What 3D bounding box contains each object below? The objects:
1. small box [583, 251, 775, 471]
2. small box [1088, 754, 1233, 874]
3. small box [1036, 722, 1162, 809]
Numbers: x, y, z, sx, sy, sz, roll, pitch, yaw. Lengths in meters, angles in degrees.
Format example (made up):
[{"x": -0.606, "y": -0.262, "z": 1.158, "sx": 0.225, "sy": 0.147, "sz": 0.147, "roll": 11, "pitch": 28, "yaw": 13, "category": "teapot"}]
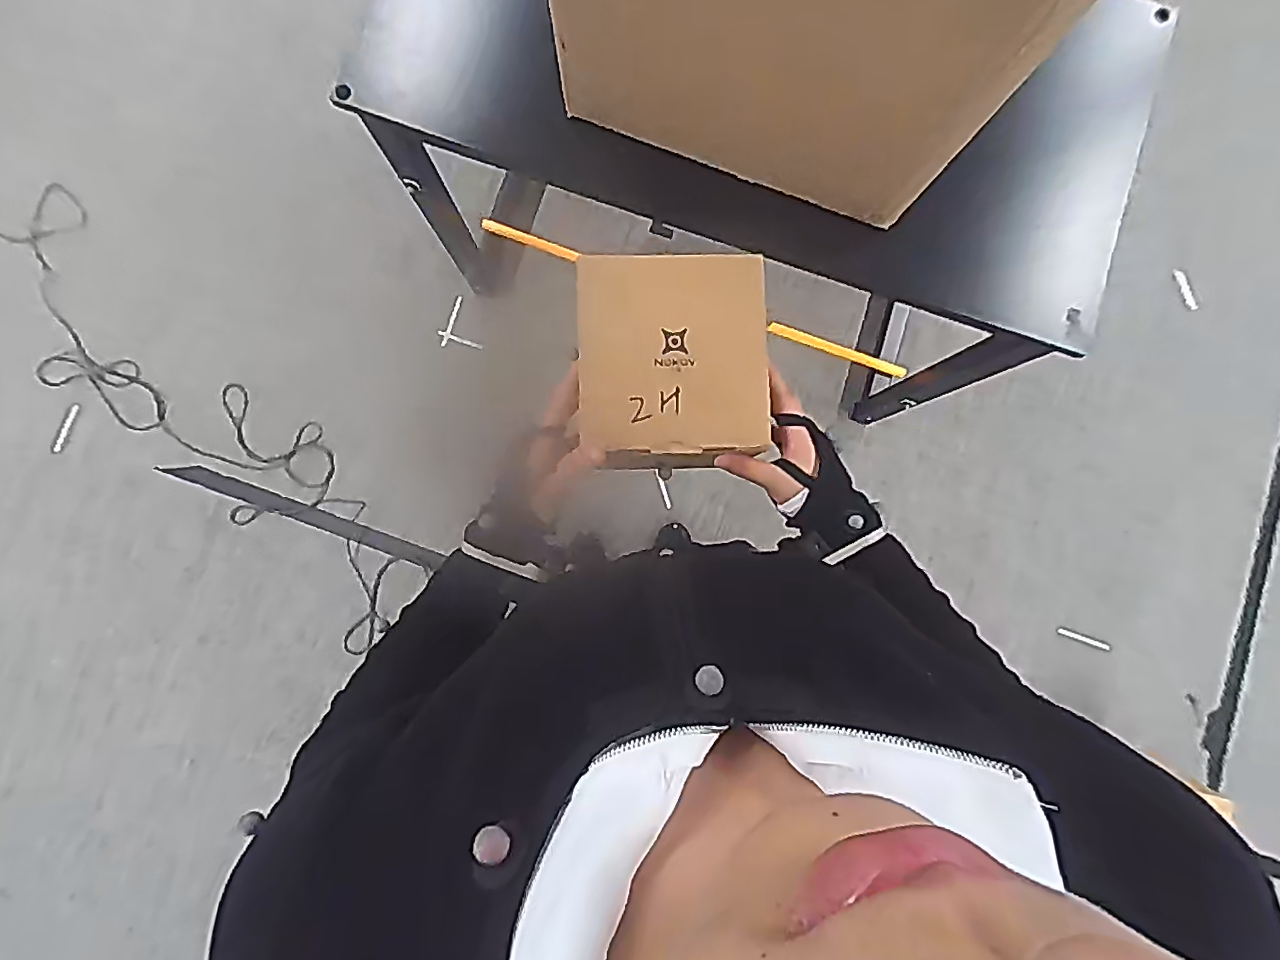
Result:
[{"x": 0.030, "y": -0.106, "z": 0.544, "sx": 0.168, "sy": 0.176, "sz": 0.179, "roll": -1, "pitch": 85, "yaw": -1, "category": "small box"}, {"x": 1.193, "y": 0.761, "z": 1.252, "sx": 0.179, "sy": 0.176, "sz": 0.168, "roll": 12, "pitch": 85, "yaw": 0, "category": "small box"}, {"x": 1.195, "y": 0.757, "z": 1.417, "sx": 0.179, "sy": 0.176, "sz": 0.168, "roll": 13, "pitch": 85, "yaw": 1, "category": "small box"}]
